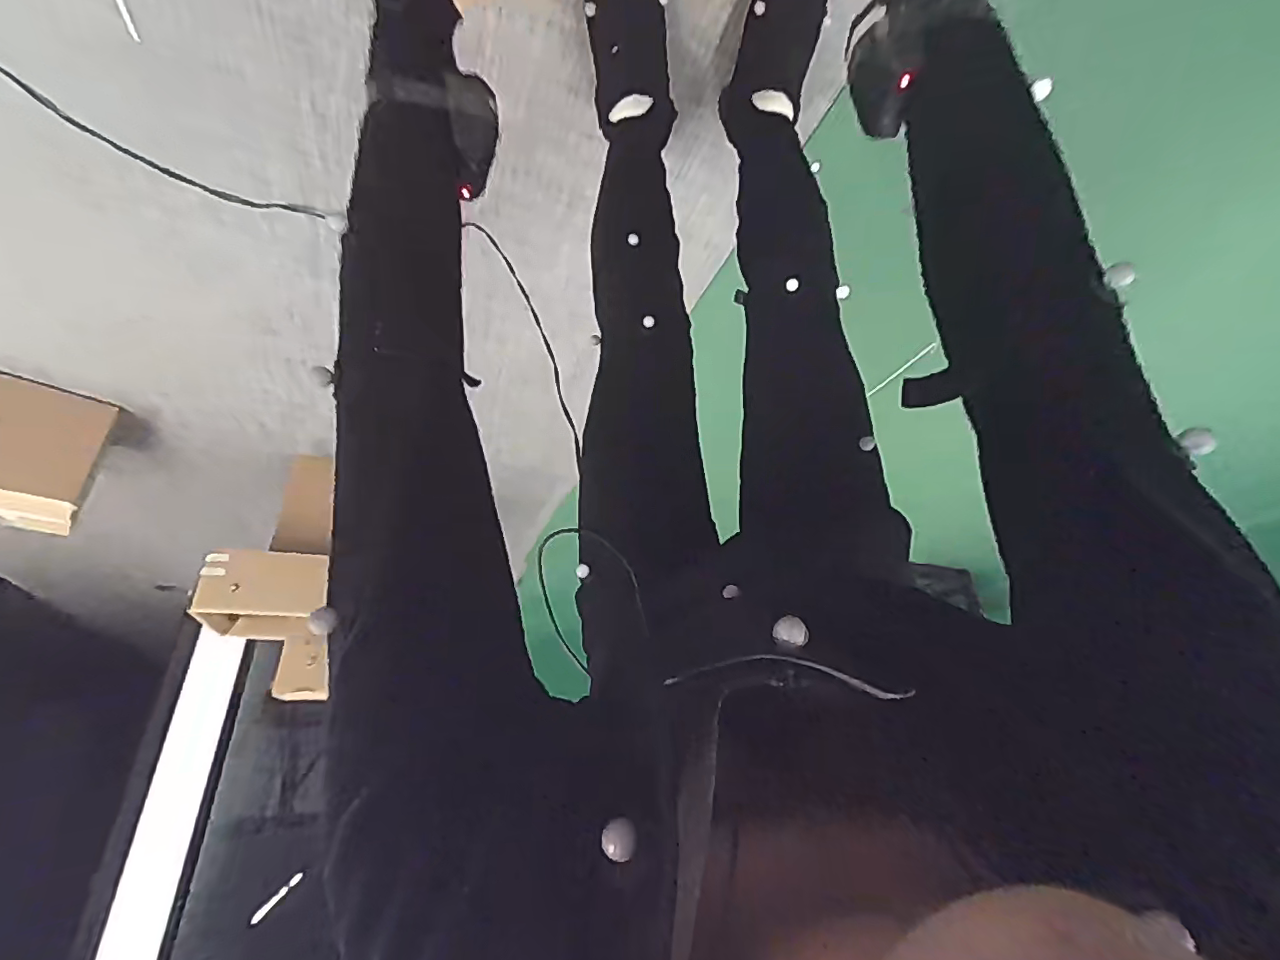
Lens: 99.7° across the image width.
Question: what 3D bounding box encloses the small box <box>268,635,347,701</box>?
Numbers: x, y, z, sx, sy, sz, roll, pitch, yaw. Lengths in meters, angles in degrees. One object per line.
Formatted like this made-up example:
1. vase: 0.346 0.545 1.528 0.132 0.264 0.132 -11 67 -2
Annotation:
1. small box: -1.020 0.580 1.672 0.168 0.176 0.179 8 150 -18

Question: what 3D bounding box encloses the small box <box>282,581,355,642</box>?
1. small box: -1.031 0.435 1.747 0.168 0.176 0.179 8 150 -21
